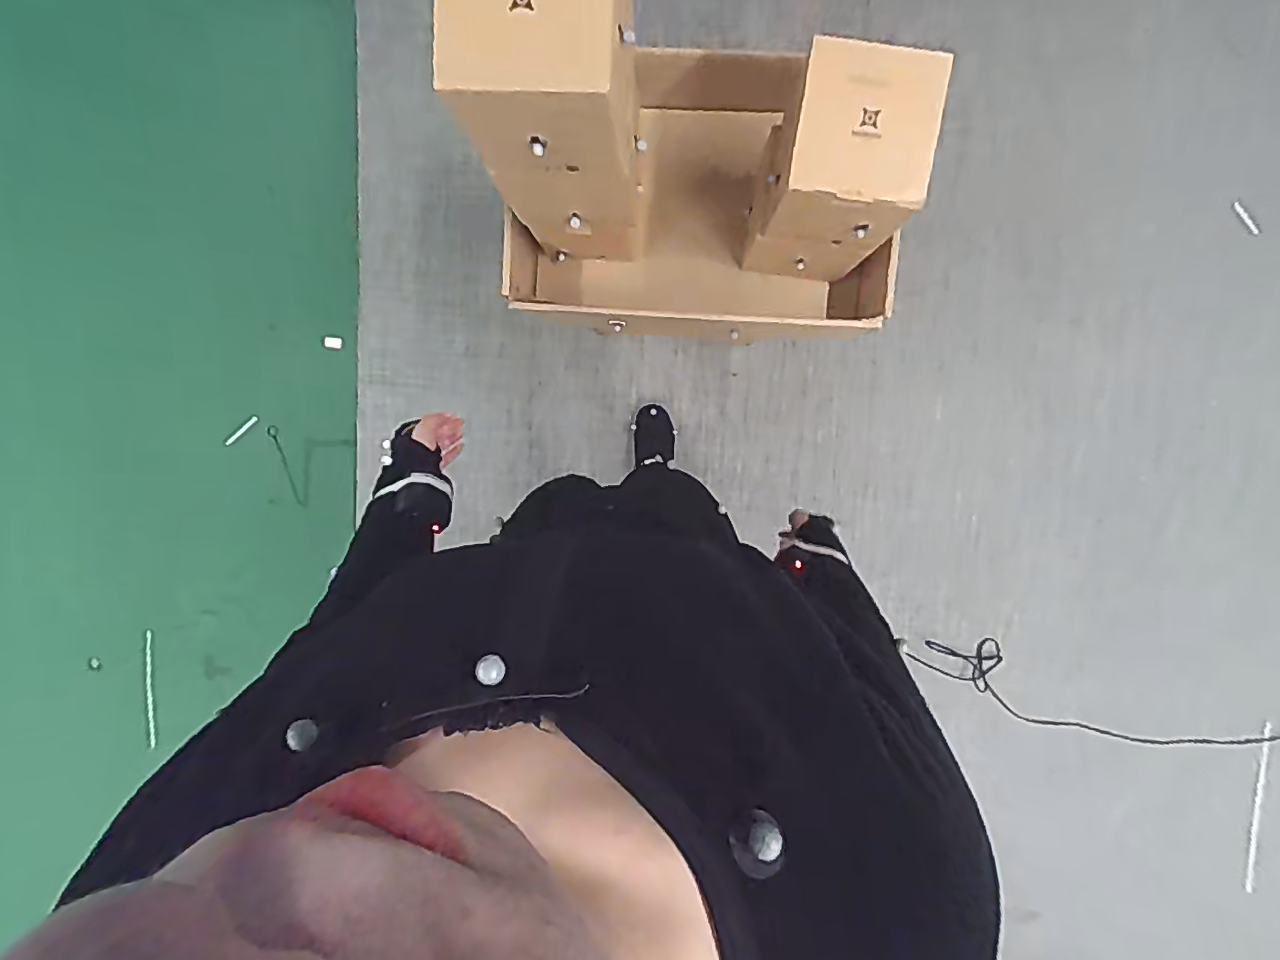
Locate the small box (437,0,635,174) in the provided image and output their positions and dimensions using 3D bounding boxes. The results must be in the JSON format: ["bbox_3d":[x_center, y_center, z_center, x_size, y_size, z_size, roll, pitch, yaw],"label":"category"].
[{"bbox_3d":[-0.096,-0.448,0.567,0.168,0.176,0.179,5,95,3],"label":"small box"}]

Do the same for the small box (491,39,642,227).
[{"bbox_3d":[-0.090,-0.459,0.732,0.179,0.176,0.168,3,95,3],"label":"small box"}]

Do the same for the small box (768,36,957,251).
[{"bbox_3d":[0.275,-0.423,0.712,0.168,0.176,0.179,10,94,1],"label":"small box"}]
